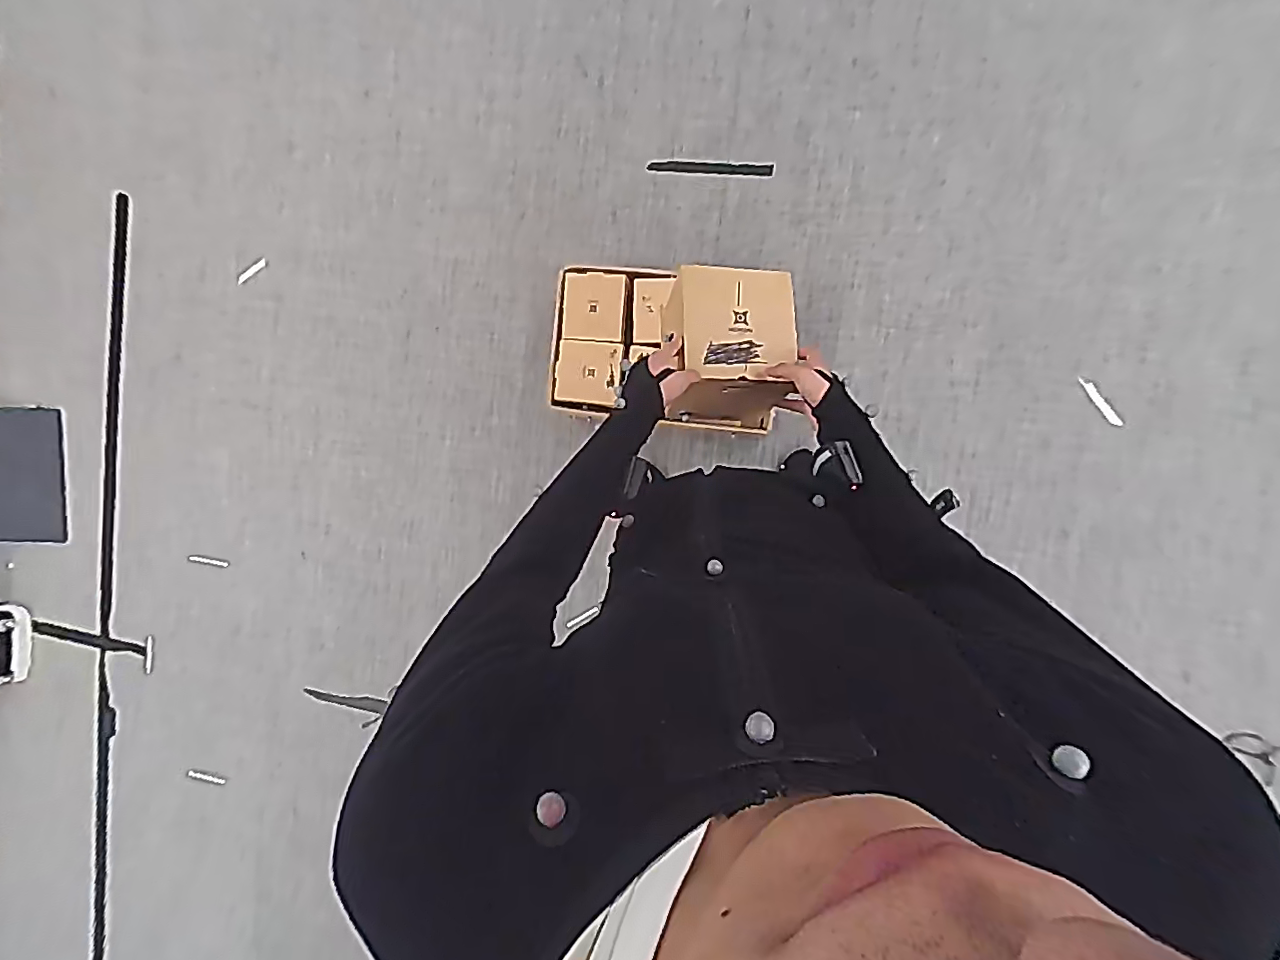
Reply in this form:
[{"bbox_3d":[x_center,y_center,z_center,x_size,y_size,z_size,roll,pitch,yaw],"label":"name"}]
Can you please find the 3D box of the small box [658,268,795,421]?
[{"bbox_3d":[0.122,-0.195,0.826,0.168,0.176,0.179,1,77,-8],"label":"small box"}]
